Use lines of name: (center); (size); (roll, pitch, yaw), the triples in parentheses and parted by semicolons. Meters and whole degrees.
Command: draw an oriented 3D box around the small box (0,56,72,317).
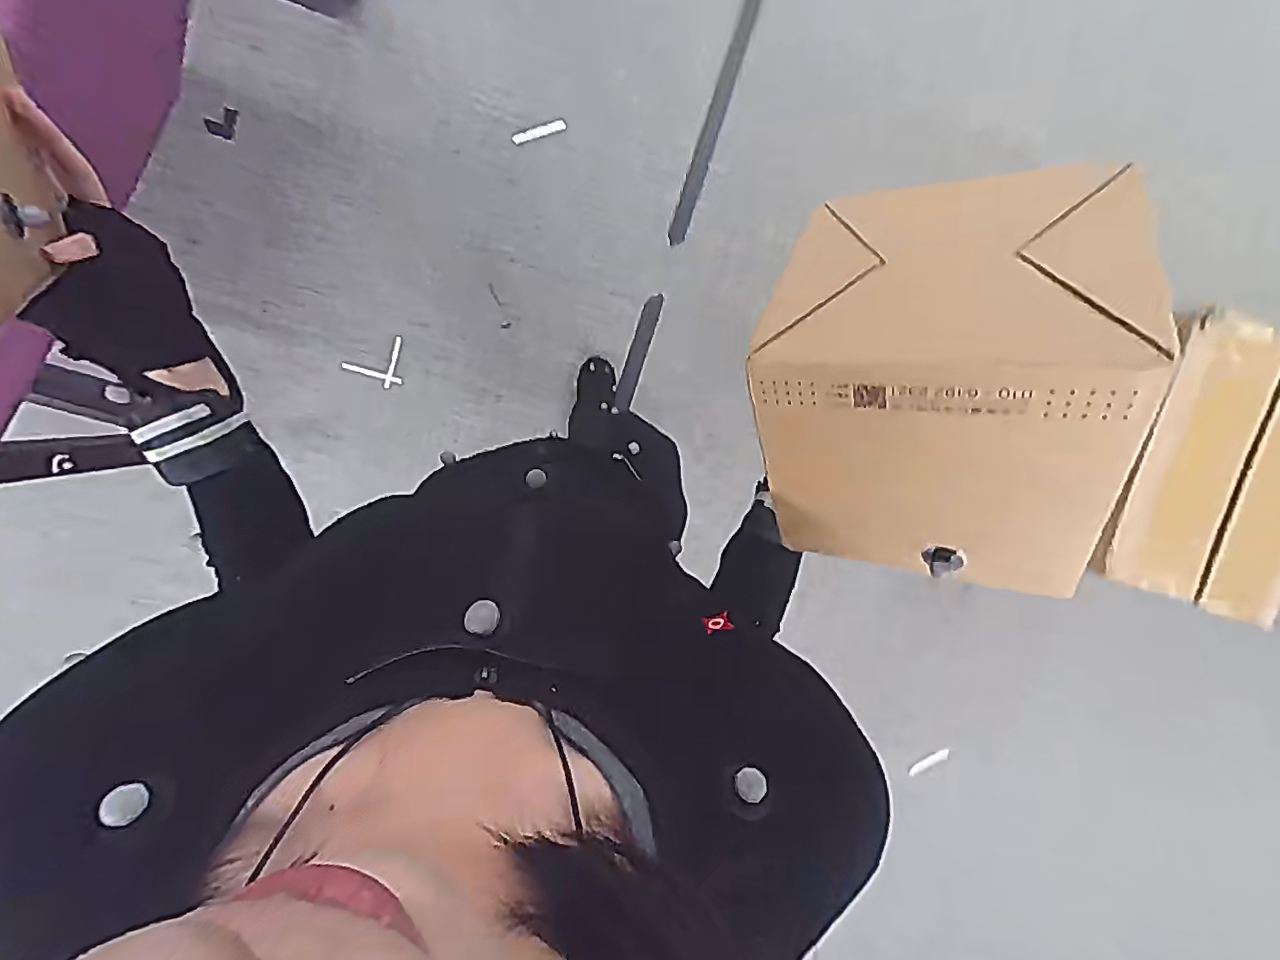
small box: (-0.385, -0.166, 0.212); (0.168, 0.179, 0.176); (-9, 126, -28)

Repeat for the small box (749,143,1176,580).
small box: (0.179, -0.070, 0.325); (0.179, 0.168, 0.176); (-61, 143, -31)
